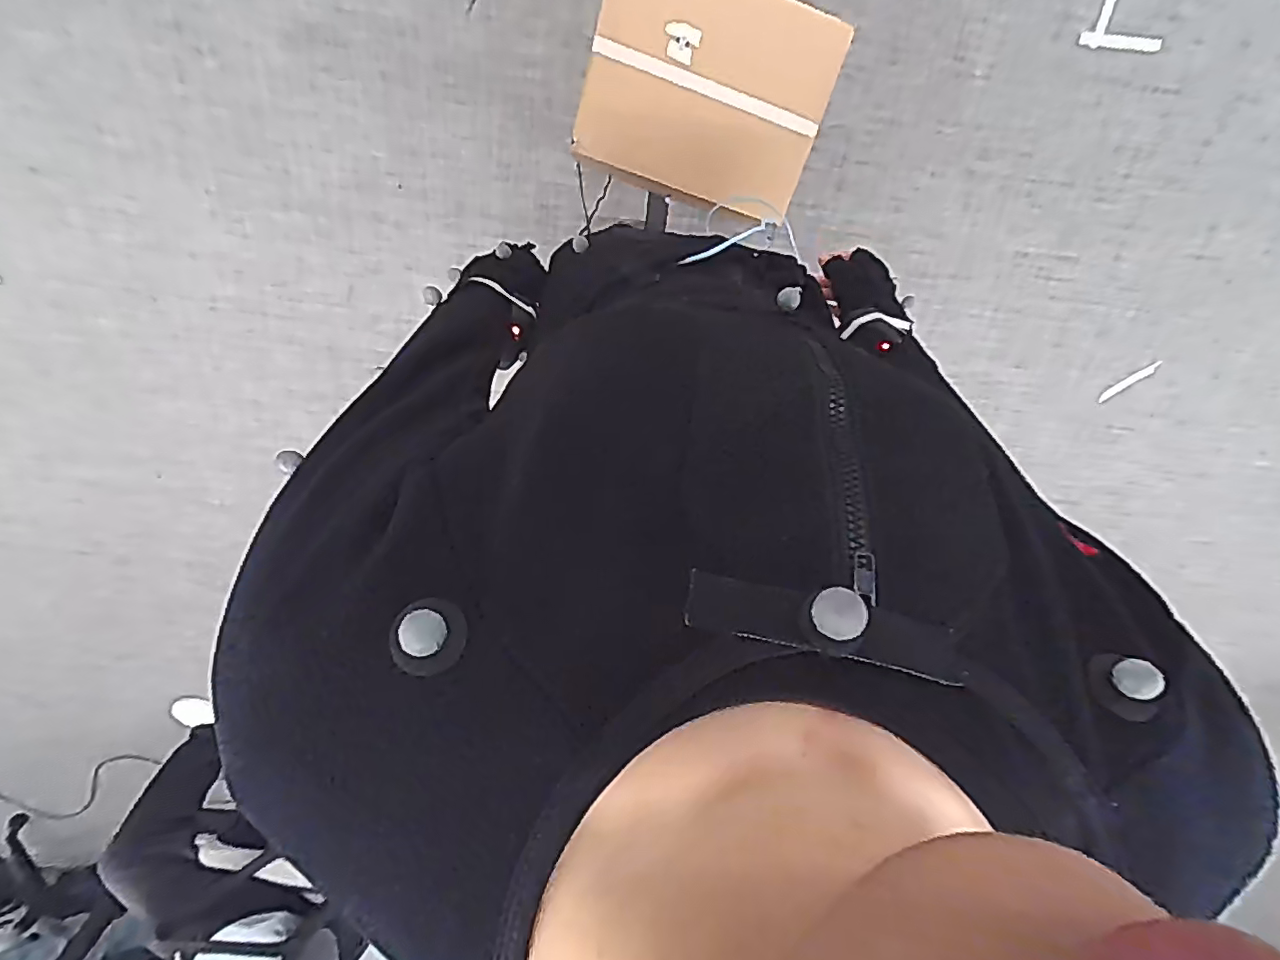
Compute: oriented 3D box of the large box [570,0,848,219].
[{"bbox_3d":[0.107,-0.729,1.048,0.408,0.320,0.320,16,113,-10],"label":"large box"}]
